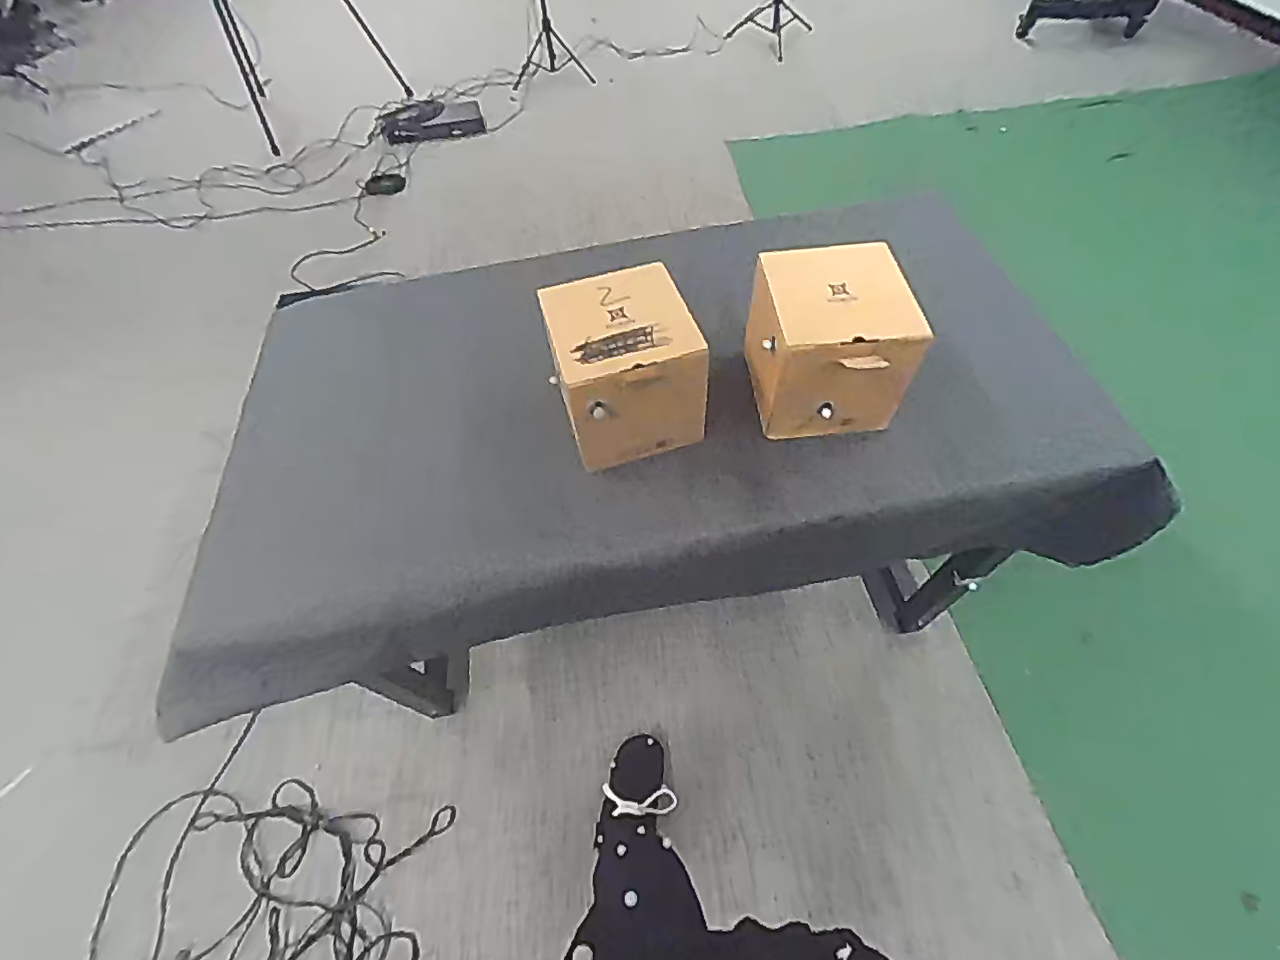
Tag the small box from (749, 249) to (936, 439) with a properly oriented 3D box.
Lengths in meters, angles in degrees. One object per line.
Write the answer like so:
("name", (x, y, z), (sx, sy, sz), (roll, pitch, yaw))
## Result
("small box", (0.246, -0.175, 0.712), (0.168, 0.176, 0.179), (-5, 57, 0))
